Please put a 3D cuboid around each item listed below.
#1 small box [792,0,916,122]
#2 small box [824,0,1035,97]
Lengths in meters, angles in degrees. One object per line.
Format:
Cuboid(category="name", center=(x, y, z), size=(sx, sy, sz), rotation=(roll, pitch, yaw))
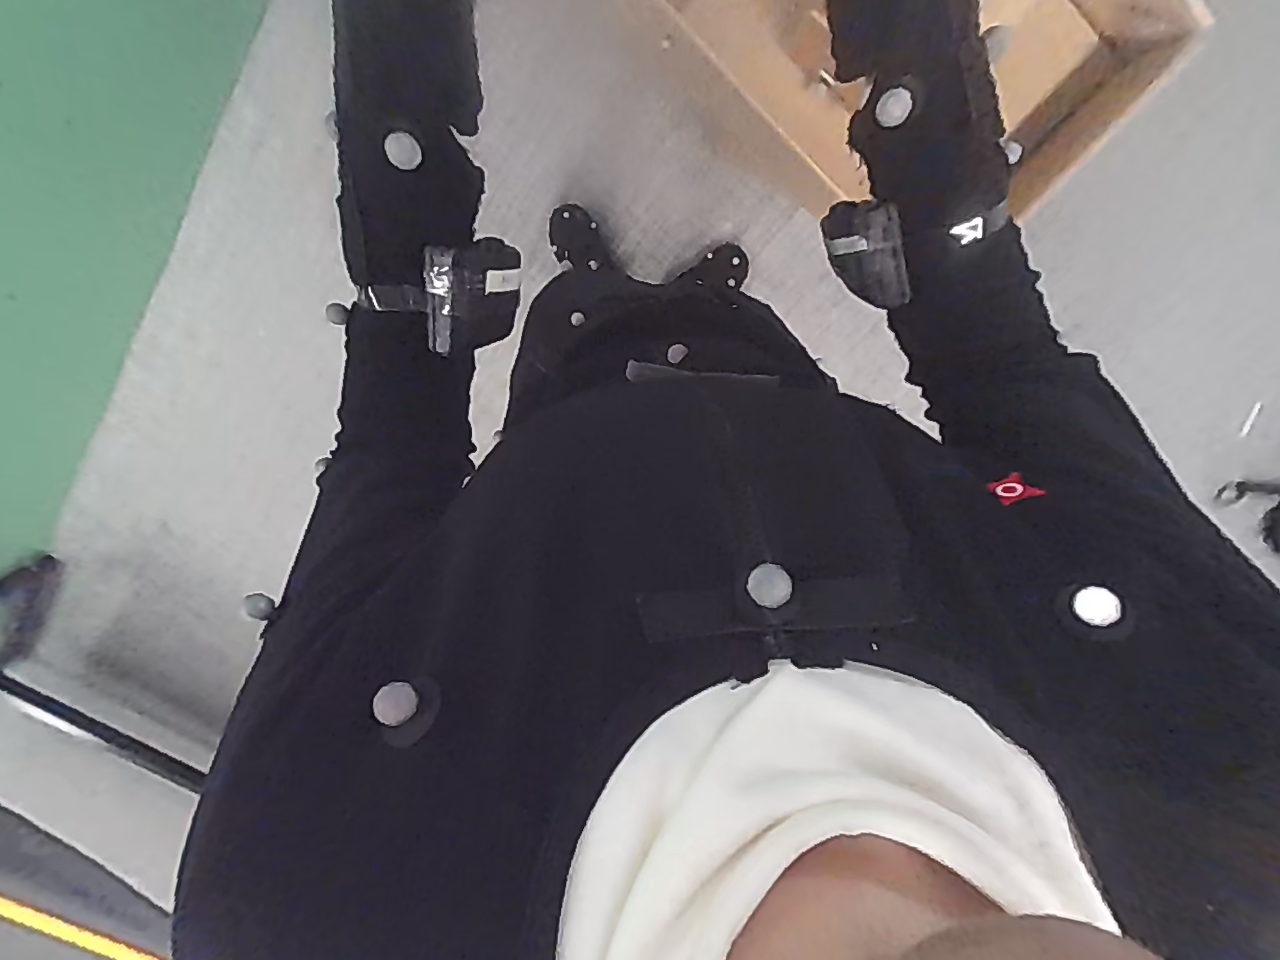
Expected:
Cuboid(category="small box", center=(0.316, -0.595, 0.678), size=(0.168, 0.176, 0.179), rotation=(34, 113, -11))
Cuboid(category="small box", center=(0.311, -0.527, 0.529), size=(0.168, 0.176, 0.179), rotation=(36, 112, -12))
